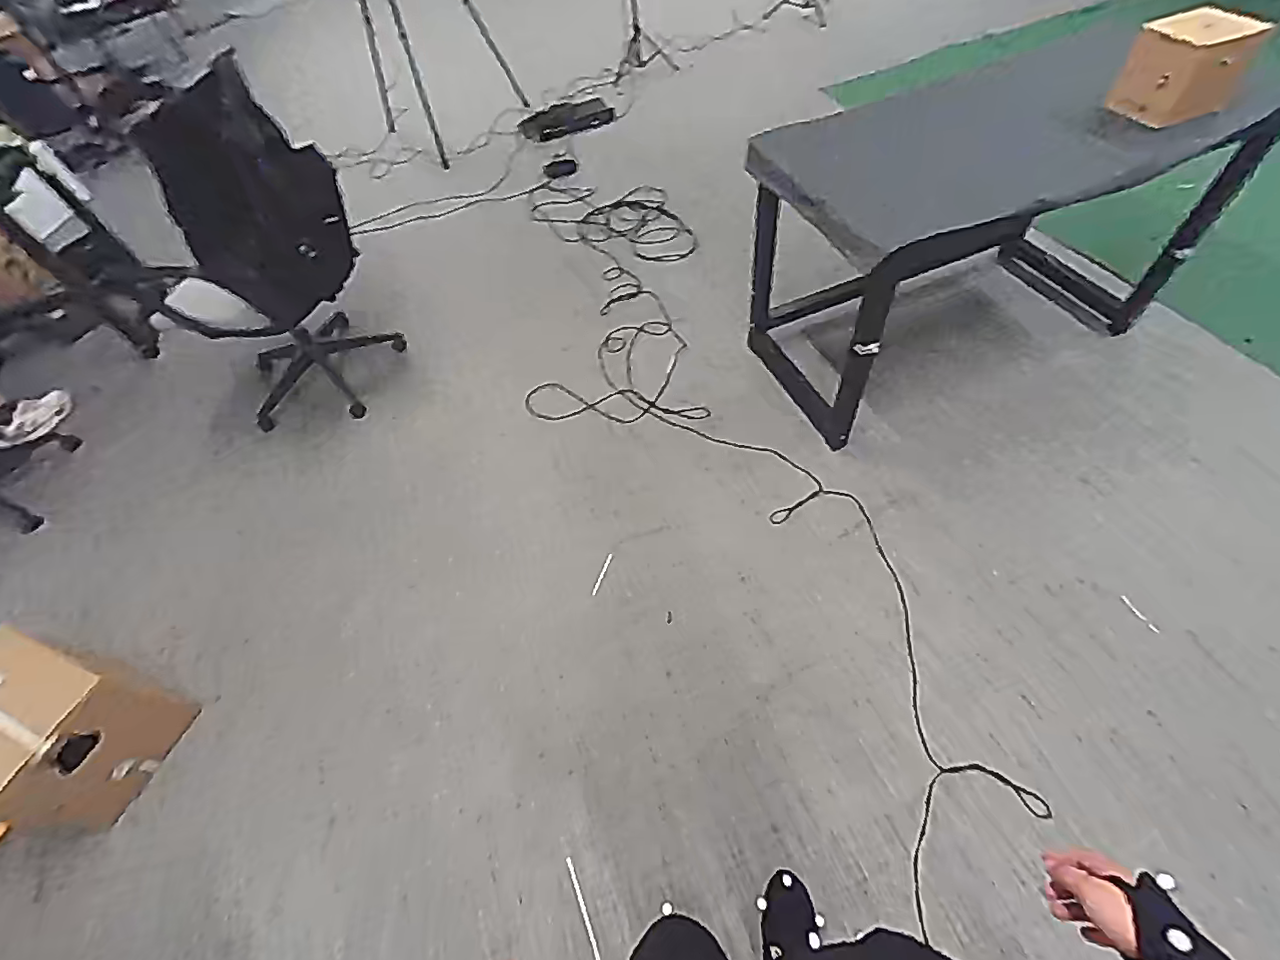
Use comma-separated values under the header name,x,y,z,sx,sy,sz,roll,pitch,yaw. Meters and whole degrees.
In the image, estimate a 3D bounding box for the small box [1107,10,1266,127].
name,x,y,z,sx,sy,sz,roll,pitch,yaw
small box,1.256,-0.959,1.267,0.179,0.176,0.168,-19,55,-6
